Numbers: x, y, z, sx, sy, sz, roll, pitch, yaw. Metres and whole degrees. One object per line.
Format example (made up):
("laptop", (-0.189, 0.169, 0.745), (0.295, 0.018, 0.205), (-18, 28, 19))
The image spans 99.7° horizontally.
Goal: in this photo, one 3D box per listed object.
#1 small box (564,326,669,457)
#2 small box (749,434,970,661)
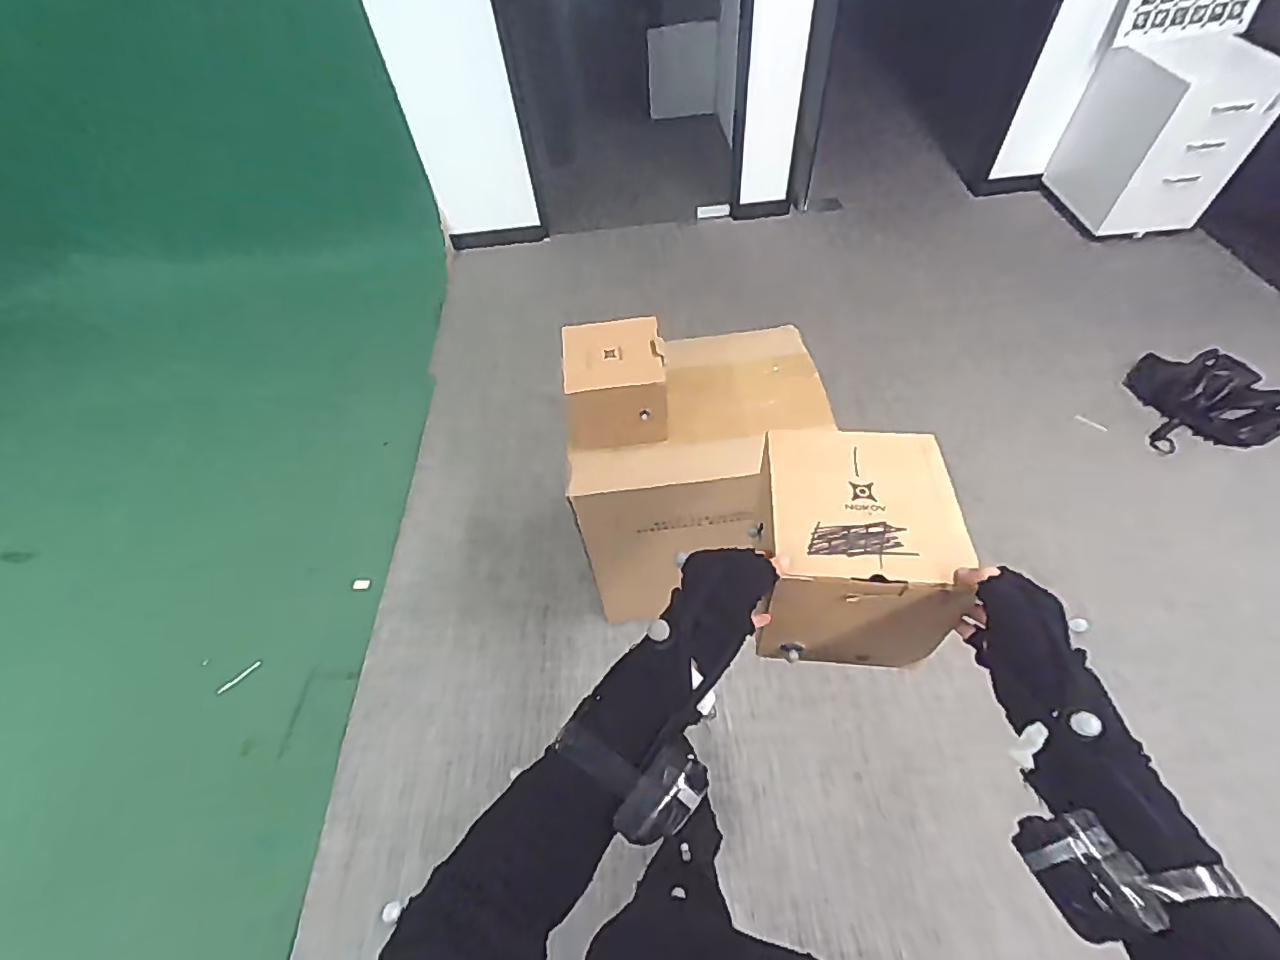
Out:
("small box", (-0.040, -0.164, 1.027), (0.179, 0.176, 0.168), (-9, 56, 1))
("small box", (0.205, 0.072, 0.561), (0.168, 0.176, 0.179), (2, 48, 7))
